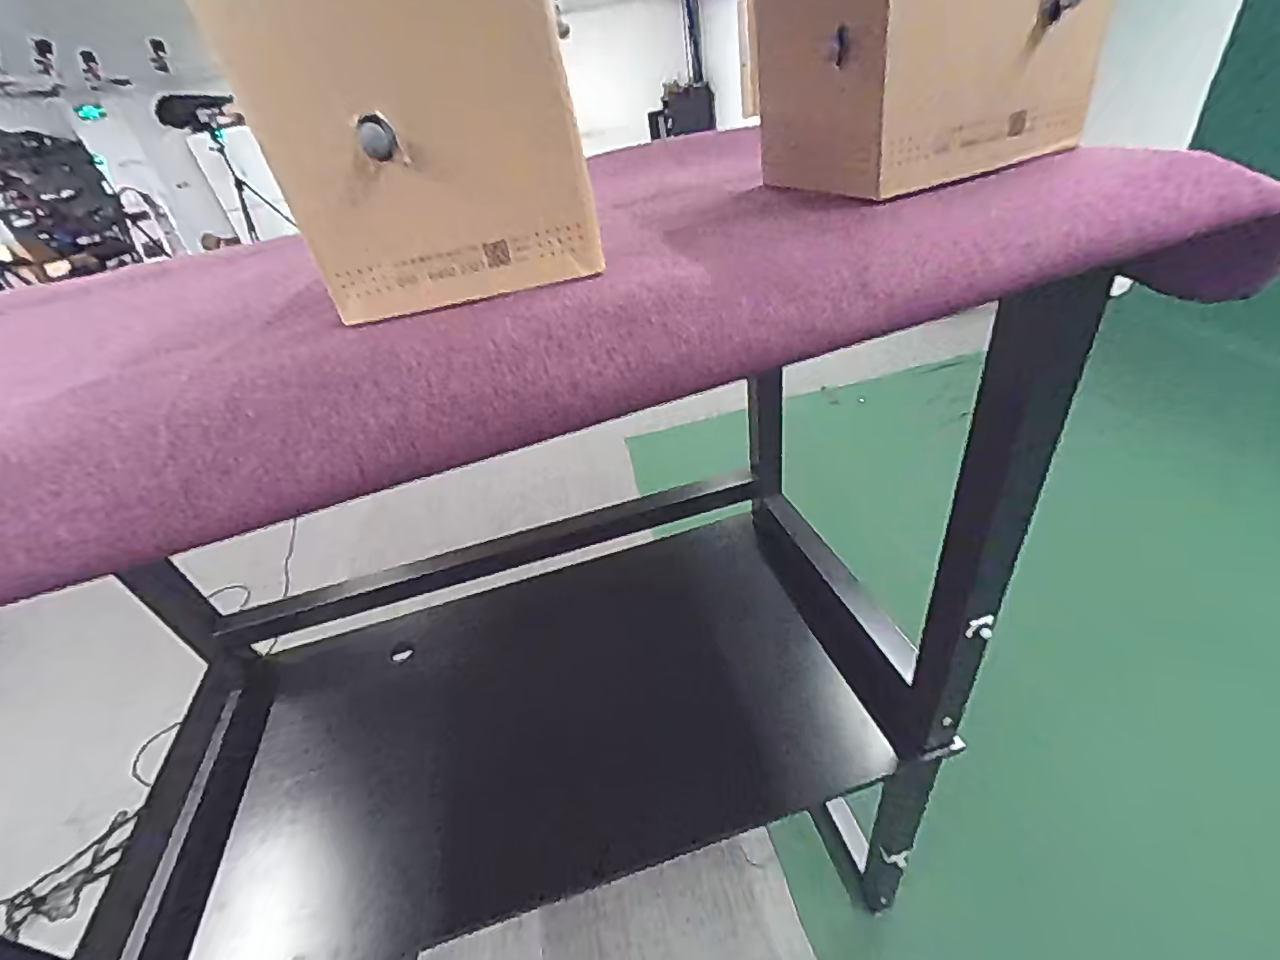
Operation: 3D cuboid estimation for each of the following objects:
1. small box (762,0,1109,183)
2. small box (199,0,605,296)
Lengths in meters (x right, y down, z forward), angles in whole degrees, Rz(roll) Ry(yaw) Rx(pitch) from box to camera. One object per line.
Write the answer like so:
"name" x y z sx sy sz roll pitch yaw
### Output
"small box" 0.203 -0.327 0.395 0.168 0.176 0.179 -16 34 -7
"small box" -0.123 -0.231 0.354 0.168 0.176 0.179 -12 34 -2
